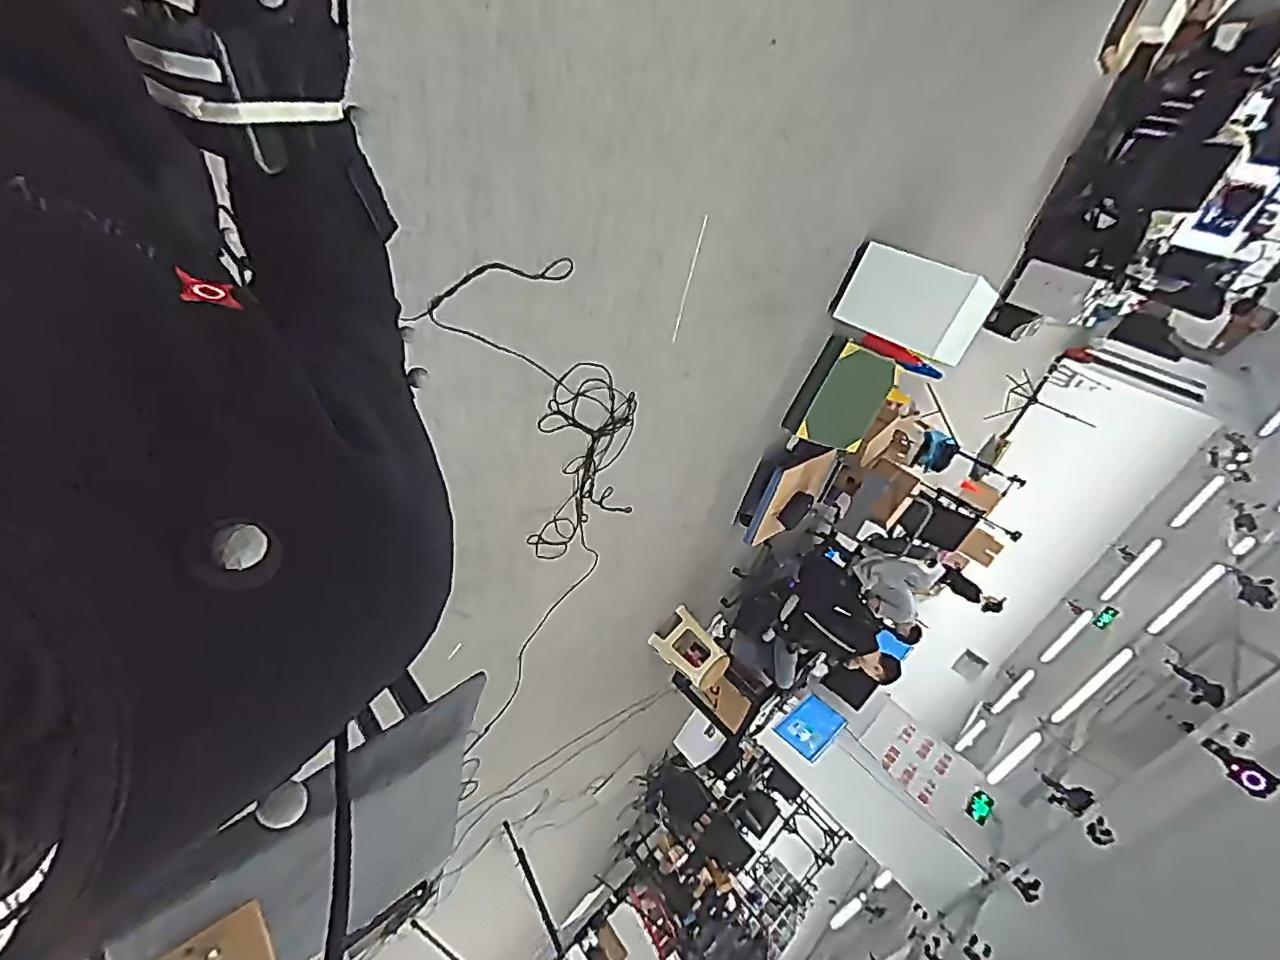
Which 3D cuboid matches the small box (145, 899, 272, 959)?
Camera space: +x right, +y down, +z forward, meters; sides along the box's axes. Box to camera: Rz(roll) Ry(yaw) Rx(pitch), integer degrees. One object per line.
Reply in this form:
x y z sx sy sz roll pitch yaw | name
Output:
-0.781 0.931 0.996 0.168 0.176 0.179 -18 135 -42 | small box
